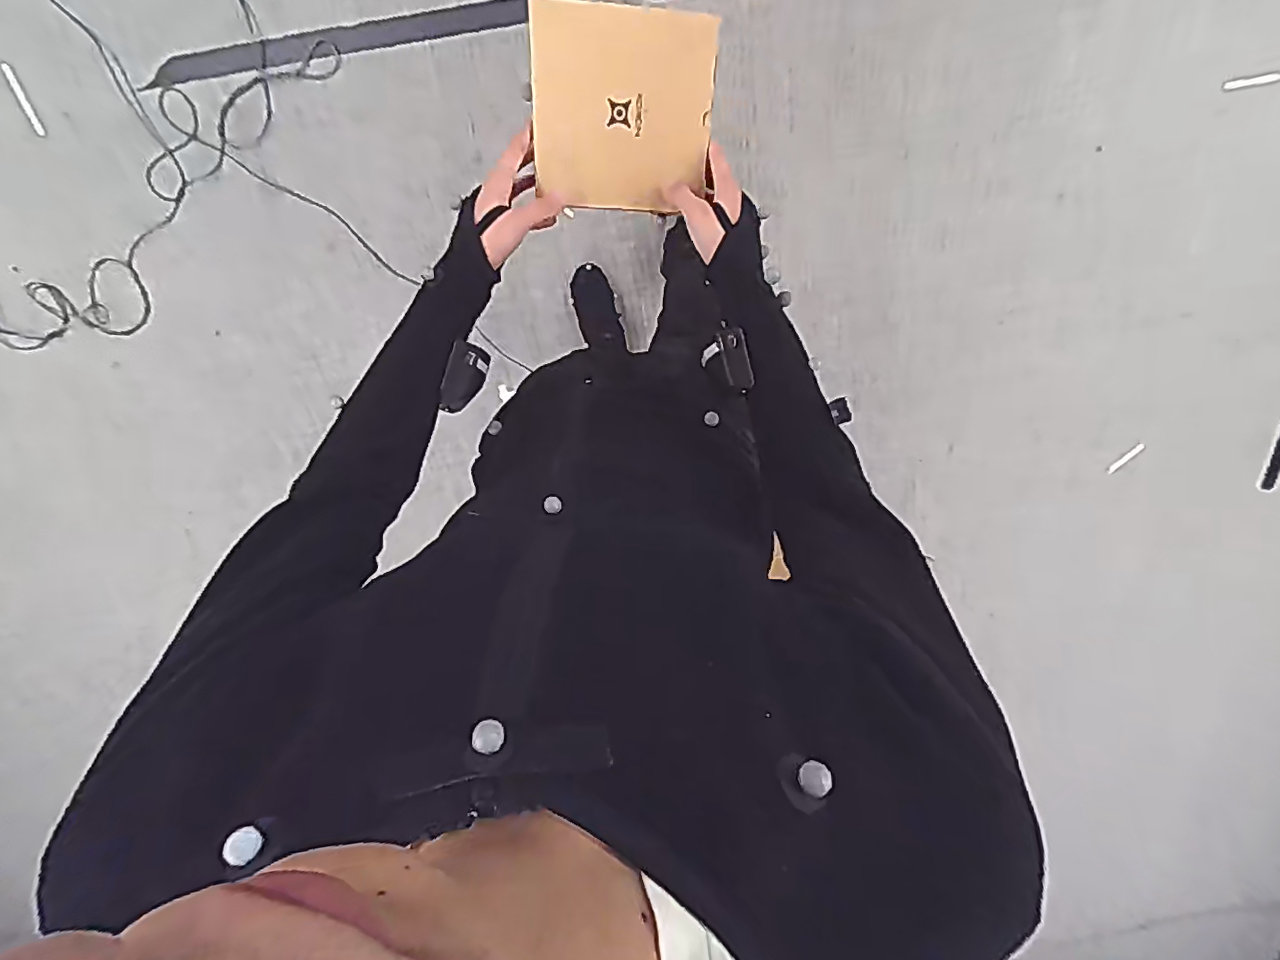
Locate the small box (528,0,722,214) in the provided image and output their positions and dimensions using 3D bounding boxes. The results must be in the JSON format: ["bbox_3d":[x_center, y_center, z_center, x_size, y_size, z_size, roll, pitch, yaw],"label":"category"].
[{"bbox_3d":[-0.025,-0.384,0.584,0.179,0.176,0.168,-1,117,-8],"label":"small box"}]
